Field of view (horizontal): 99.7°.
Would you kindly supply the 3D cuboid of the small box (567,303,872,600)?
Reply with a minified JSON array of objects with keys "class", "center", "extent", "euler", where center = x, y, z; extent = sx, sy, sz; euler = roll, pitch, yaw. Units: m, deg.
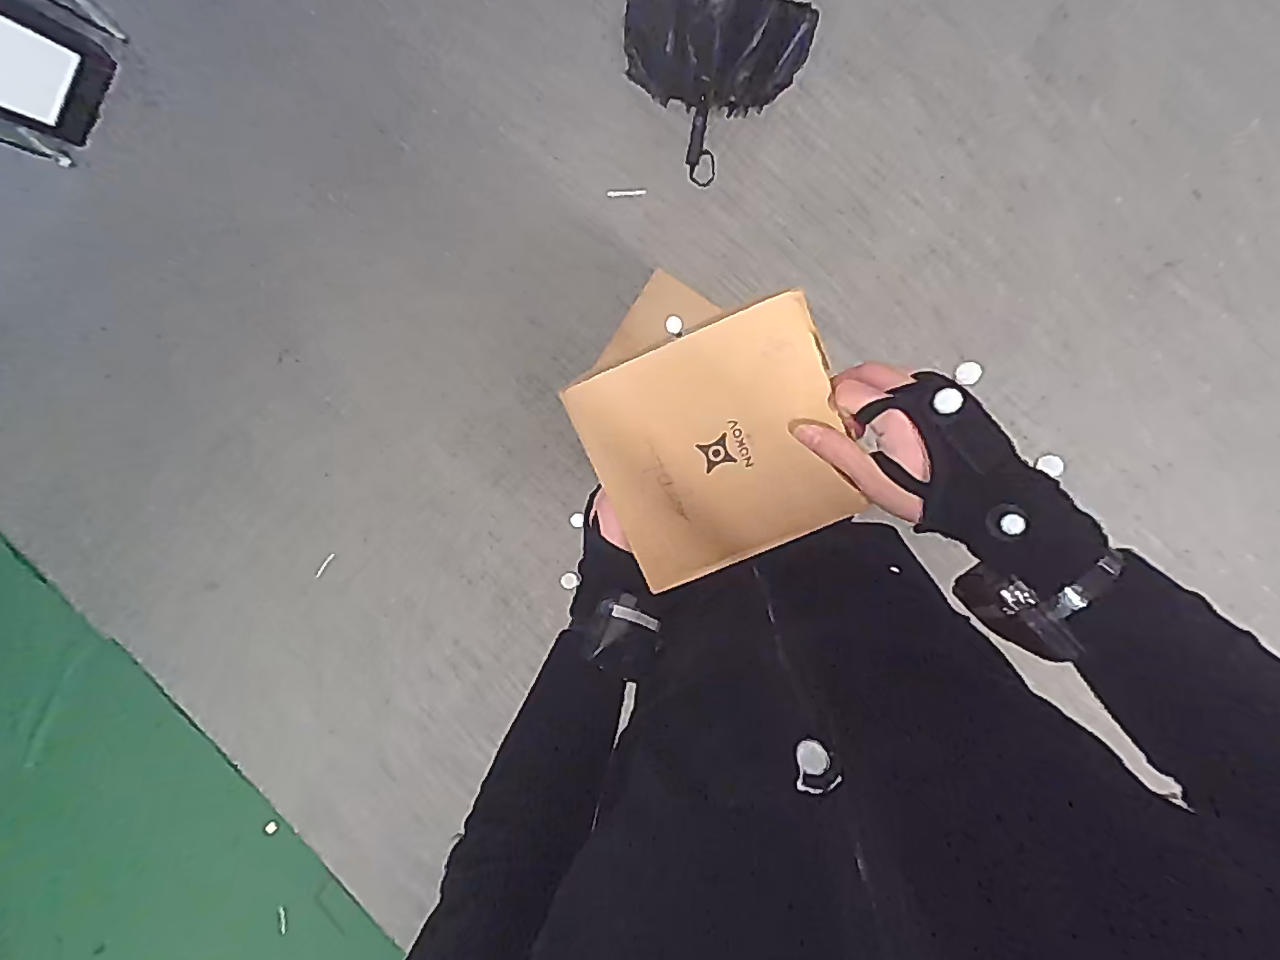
[{"class":"small box","center":[0.059,-0.033,0.460],"extent":[0.179,0.176,0.168],"euler":[-24,101,6]}]
